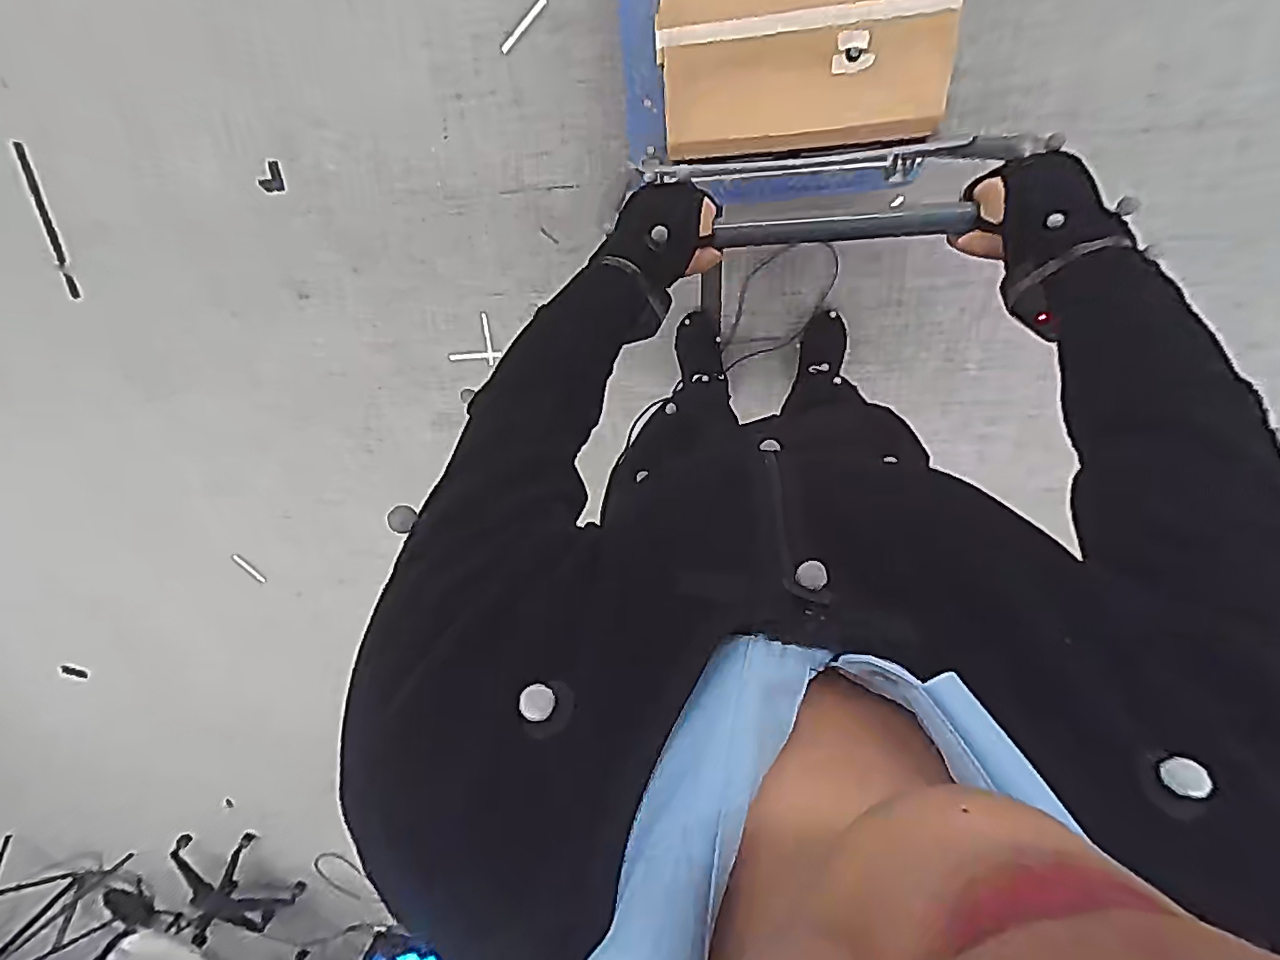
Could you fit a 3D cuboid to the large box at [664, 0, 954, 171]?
[{"bbox_3d":[0.250,-0.719,0.899,0.408,0.320,0.320,-1,118,8],"label":"large box"}]
